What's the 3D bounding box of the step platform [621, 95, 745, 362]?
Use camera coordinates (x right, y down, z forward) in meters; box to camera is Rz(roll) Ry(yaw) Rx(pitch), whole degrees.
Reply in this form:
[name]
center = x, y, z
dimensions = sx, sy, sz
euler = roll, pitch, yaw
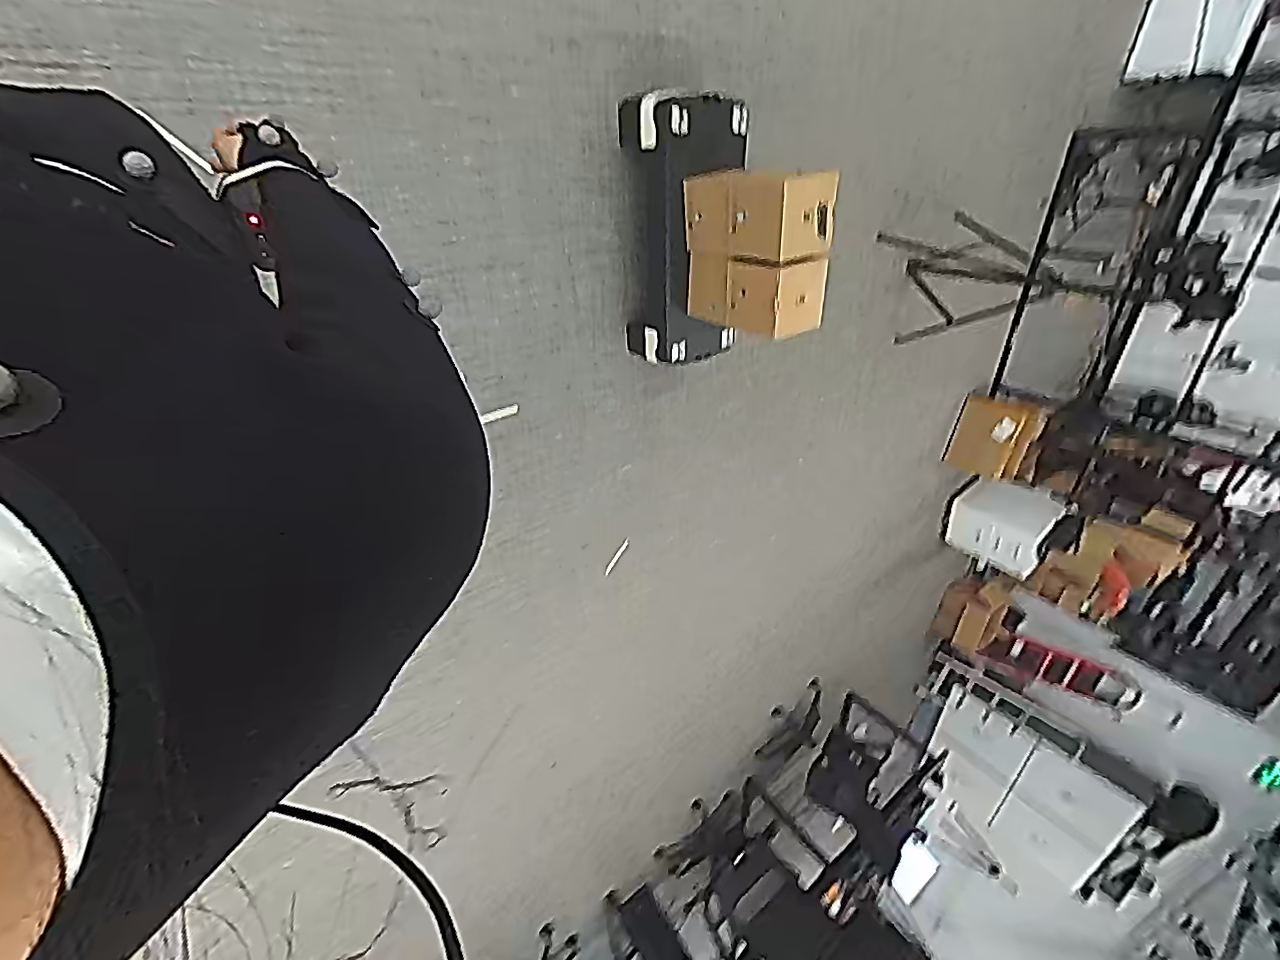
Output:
[step platform]
center = 0.125, -0.689, 1.553
dimensions = 0.286, 0.204, 0.684
euler = -23, 126, -30
